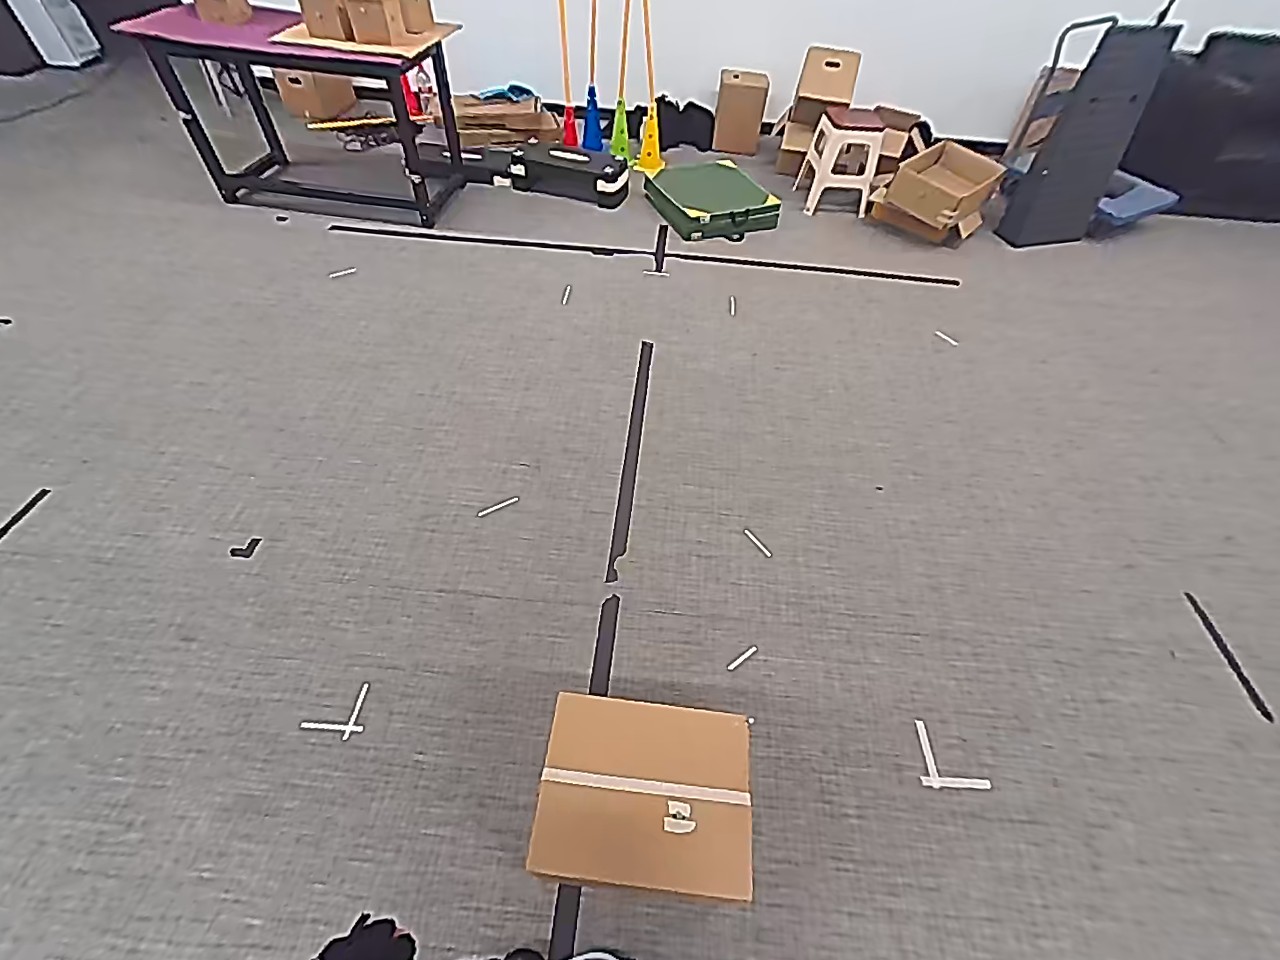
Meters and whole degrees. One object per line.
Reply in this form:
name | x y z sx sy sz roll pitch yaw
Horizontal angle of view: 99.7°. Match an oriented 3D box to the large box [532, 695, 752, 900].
large box | 0.004 0.690 1.170 0.408 0.320 0.320 8 52 1
